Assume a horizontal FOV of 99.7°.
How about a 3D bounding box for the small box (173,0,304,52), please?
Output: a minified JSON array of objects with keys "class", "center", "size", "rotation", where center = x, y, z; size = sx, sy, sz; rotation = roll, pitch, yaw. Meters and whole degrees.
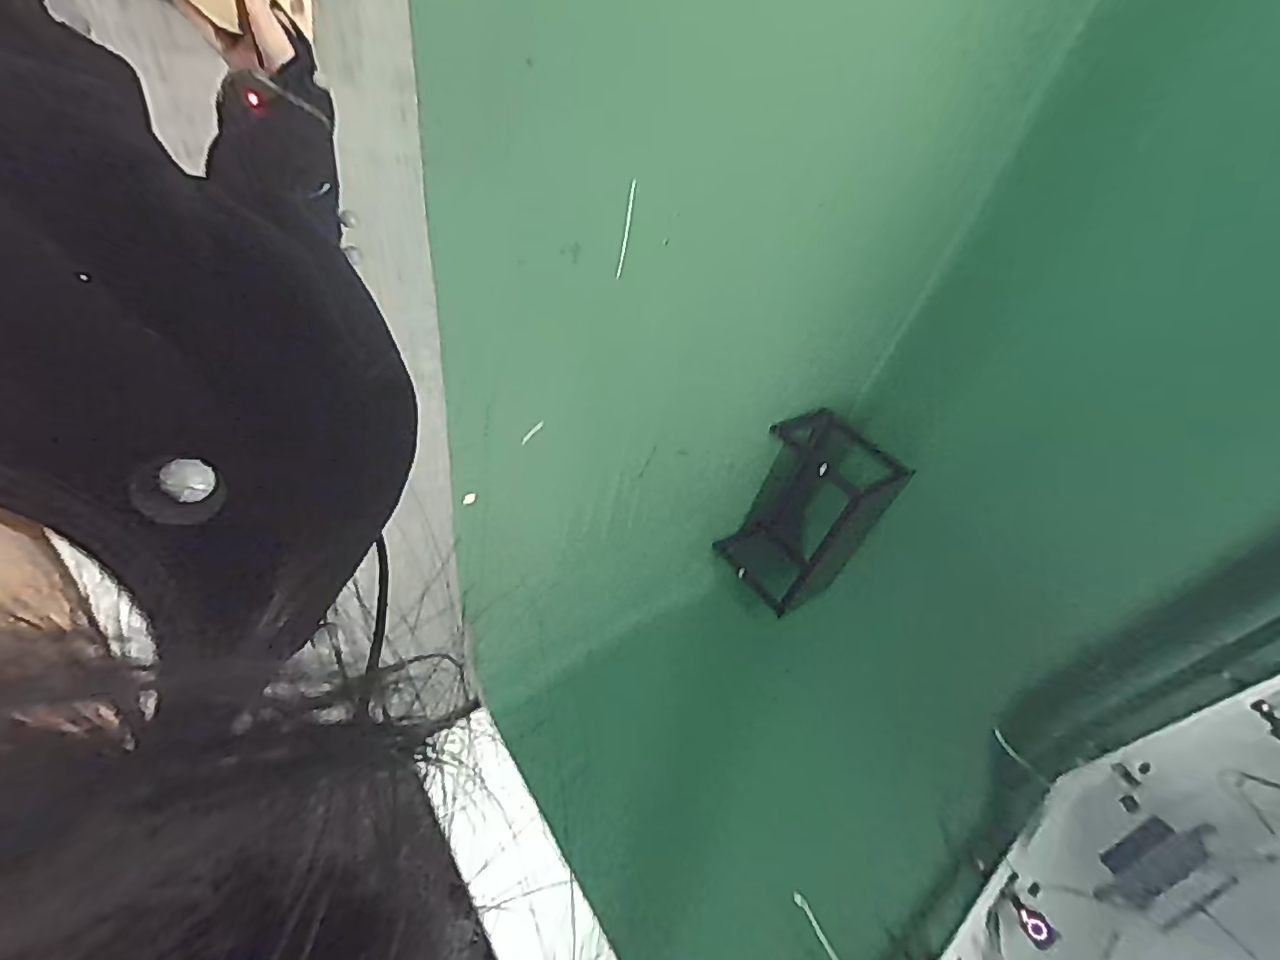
[{"class":"small box","center":[-0.673,-0.849,0.889],"size":[0.179,0.176,0.168],"rotation":[-13,139,-41]}]
